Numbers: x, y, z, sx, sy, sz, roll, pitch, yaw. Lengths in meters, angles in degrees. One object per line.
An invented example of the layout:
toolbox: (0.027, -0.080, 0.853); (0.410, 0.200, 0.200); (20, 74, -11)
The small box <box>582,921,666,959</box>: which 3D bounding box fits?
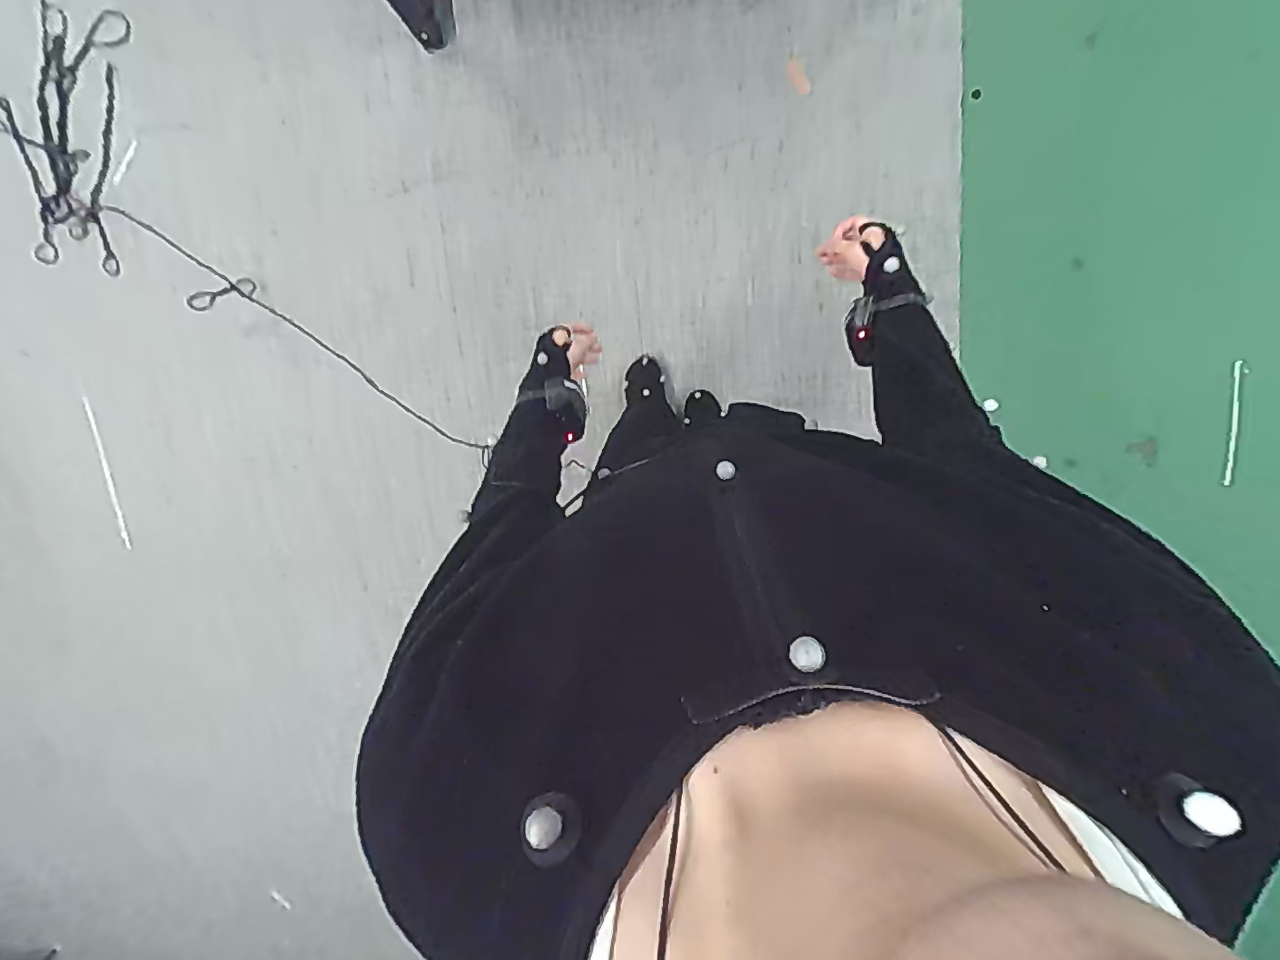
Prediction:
small box: (-0.033, 1.118, 1.191); (0.168, 0.176, 0.179); (-16, 97, 6)
